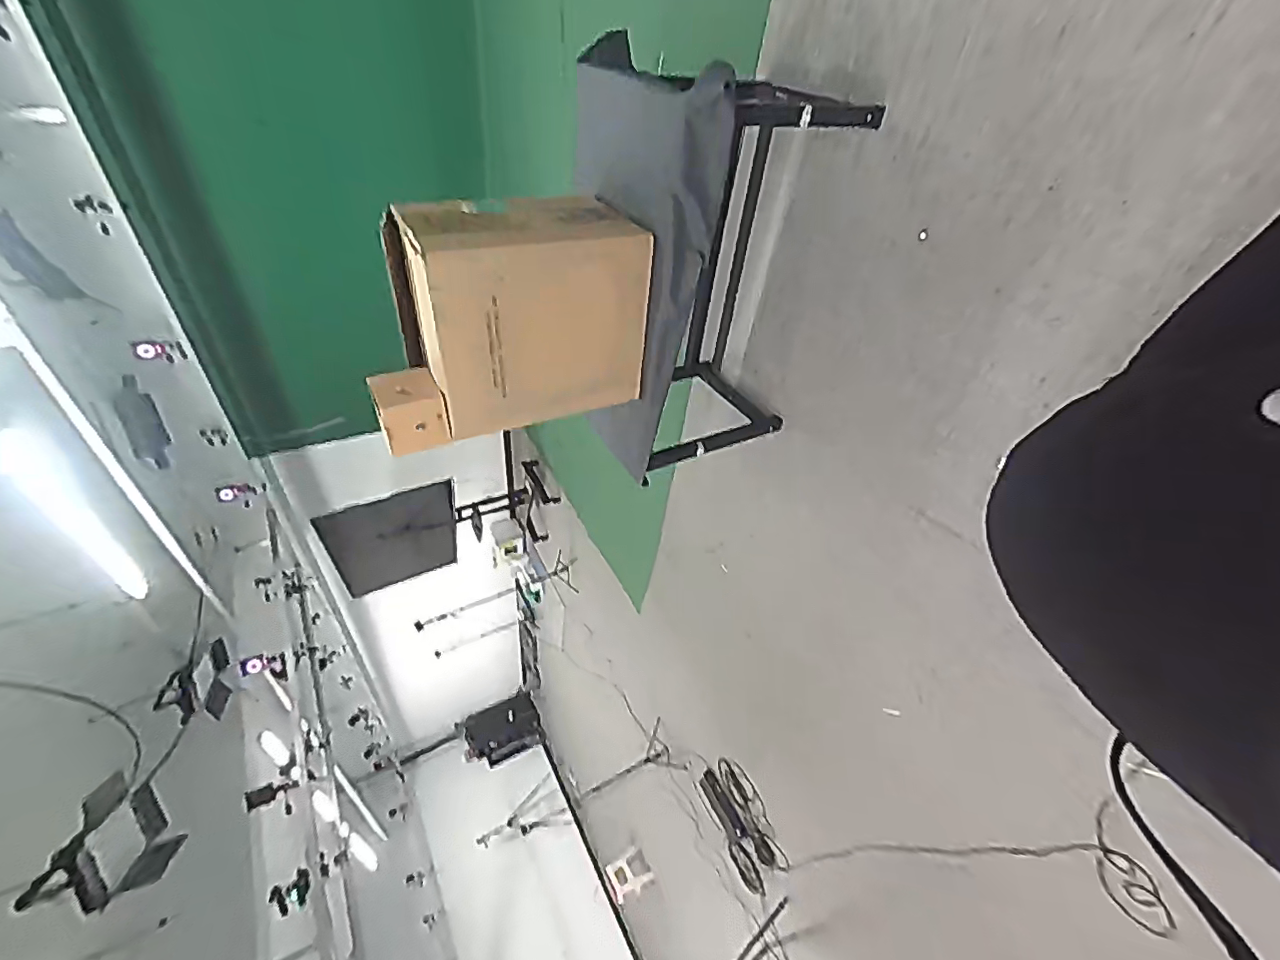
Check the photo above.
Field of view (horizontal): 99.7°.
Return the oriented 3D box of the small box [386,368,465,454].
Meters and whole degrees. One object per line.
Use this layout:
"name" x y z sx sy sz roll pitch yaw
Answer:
"small box" -0.615 -0.207 1.569 0.179 0.176 0.168 51 148 39
